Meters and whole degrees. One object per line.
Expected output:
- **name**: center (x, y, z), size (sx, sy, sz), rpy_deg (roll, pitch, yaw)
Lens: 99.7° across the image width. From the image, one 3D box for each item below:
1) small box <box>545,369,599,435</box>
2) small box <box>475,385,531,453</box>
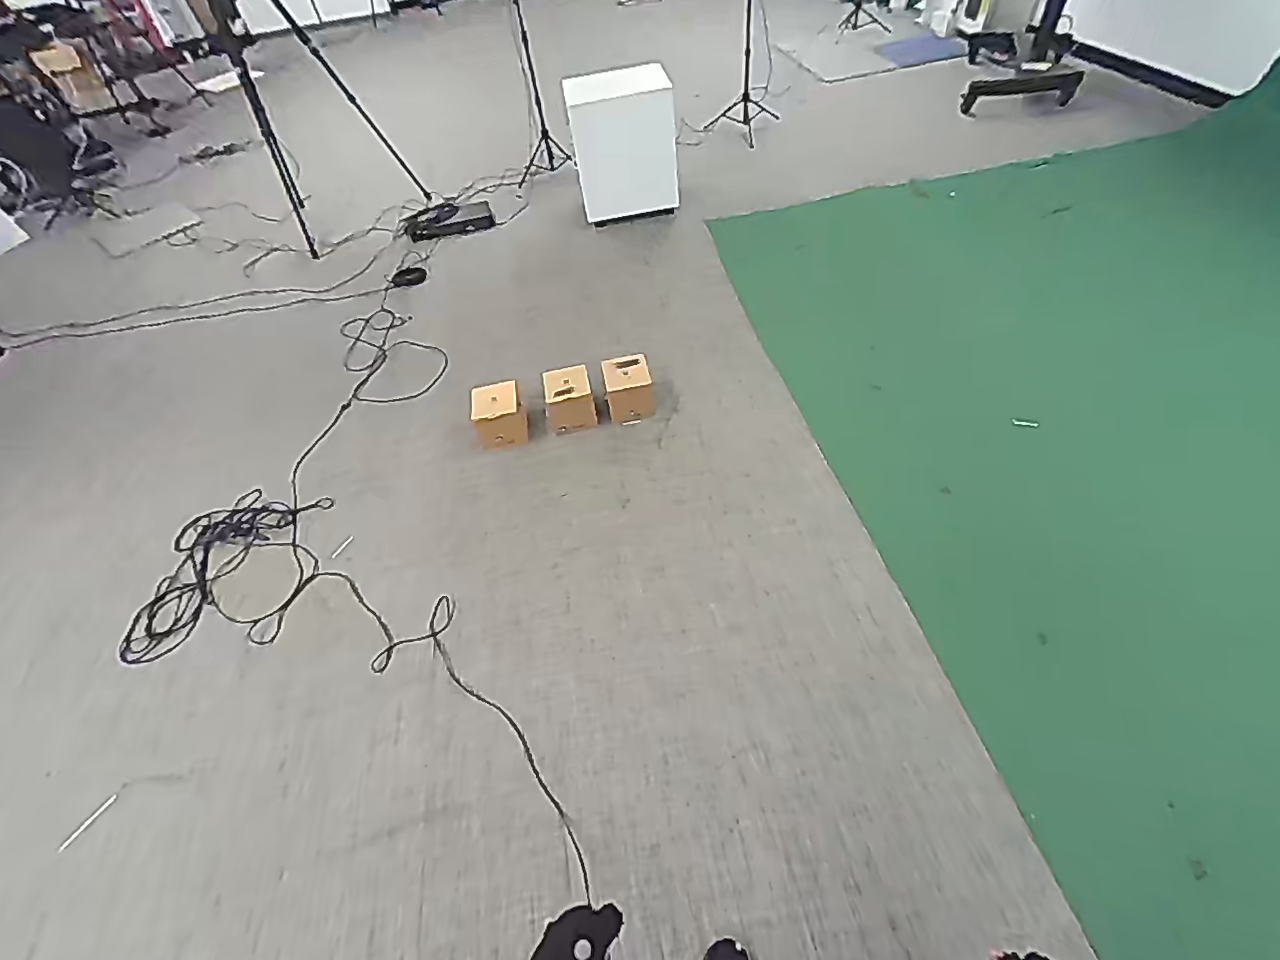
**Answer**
- **small box**: center (-0.256, -0.289, 2.056), size (0.168, 0.176, 0.179), rpy_deg (-13, 50, -2)
- **small box**: center (-0.515, -0.228, 2.047), size (0.168, 0.176, 0.179), rpy_deg (-12, 51, -1)
